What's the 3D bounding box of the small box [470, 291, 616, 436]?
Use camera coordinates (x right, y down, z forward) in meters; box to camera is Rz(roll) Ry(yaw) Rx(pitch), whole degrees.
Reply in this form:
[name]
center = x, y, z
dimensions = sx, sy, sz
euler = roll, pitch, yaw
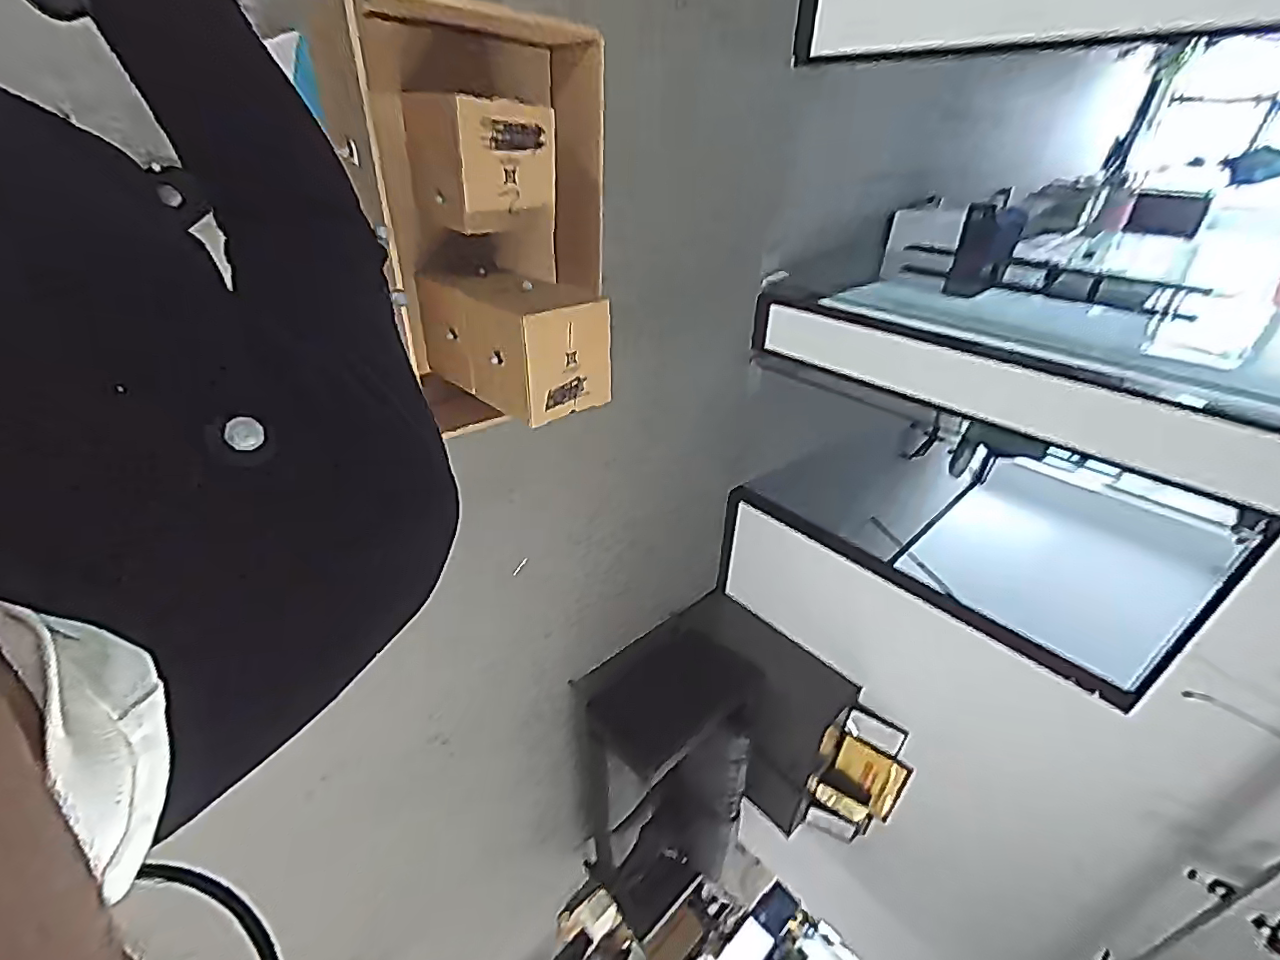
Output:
[small box]
center = -0.157, -0.197, 0.882
dimensions = 0.168, 0.176, 0.179
euler = -26, 130, -38
